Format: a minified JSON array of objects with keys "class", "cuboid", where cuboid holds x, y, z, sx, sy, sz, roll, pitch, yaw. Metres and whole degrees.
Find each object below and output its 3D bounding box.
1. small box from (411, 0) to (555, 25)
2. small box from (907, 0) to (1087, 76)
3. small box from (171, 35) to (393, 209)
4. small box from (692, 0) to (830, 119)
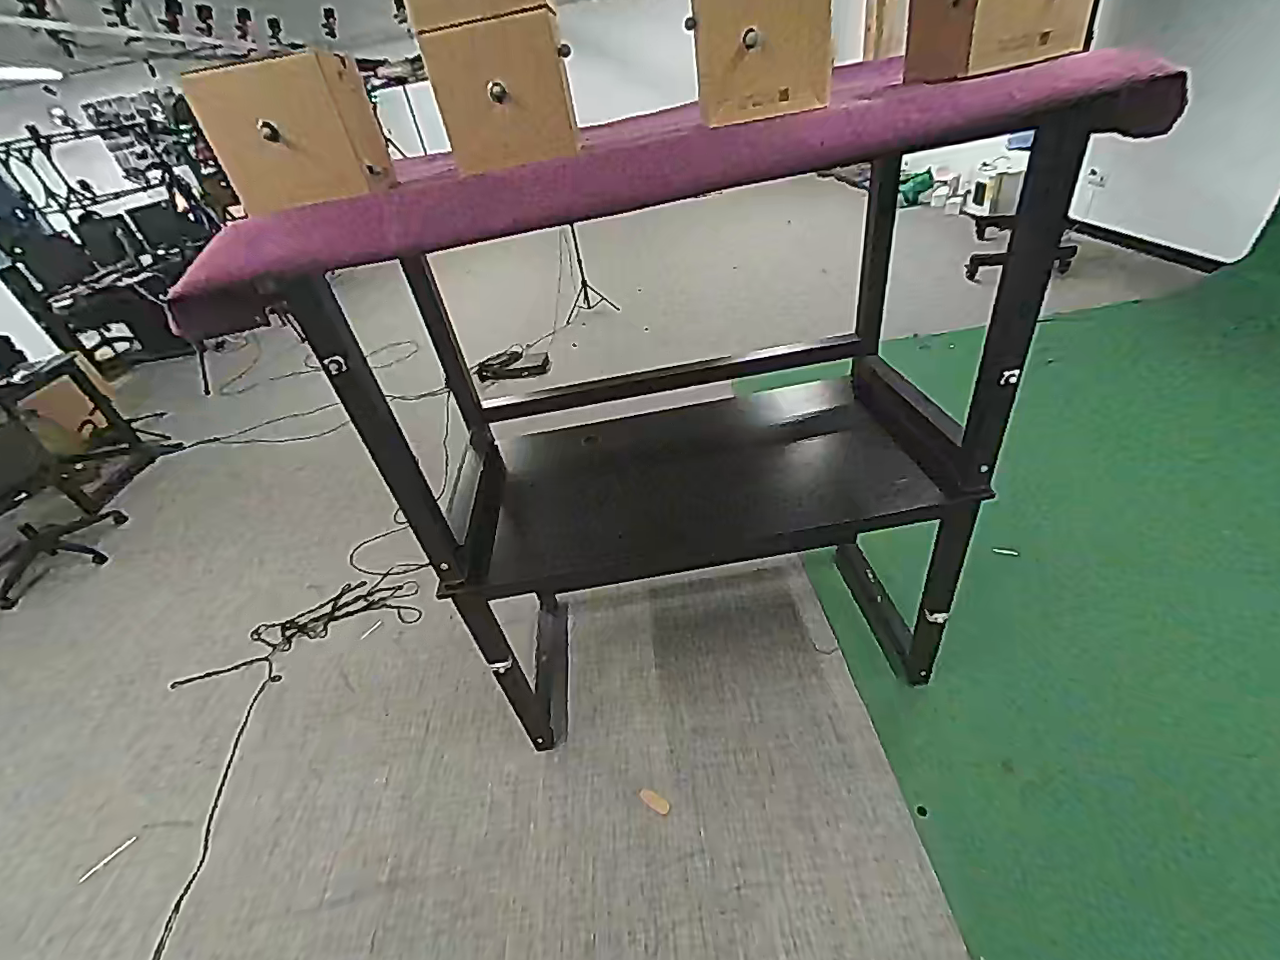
[{"class":"small box","cuboid":[-0.213,-0.703,0.688,0.179,0.176,0.168,-9,37,4]},{"class":"small box","cuboid":[0.504,-0.692,0.764,0.168,0.176,0.179,-11,35,0]},{"class":"small box","cuboid":[-0.476,-0.499,0.759,0.179,0.176,0.168,-12,37,-1]},{"class":"small box","cuboid":[0.168,-0.624,0.766,0.168,0.176,0.179,-7,35,6]}]
